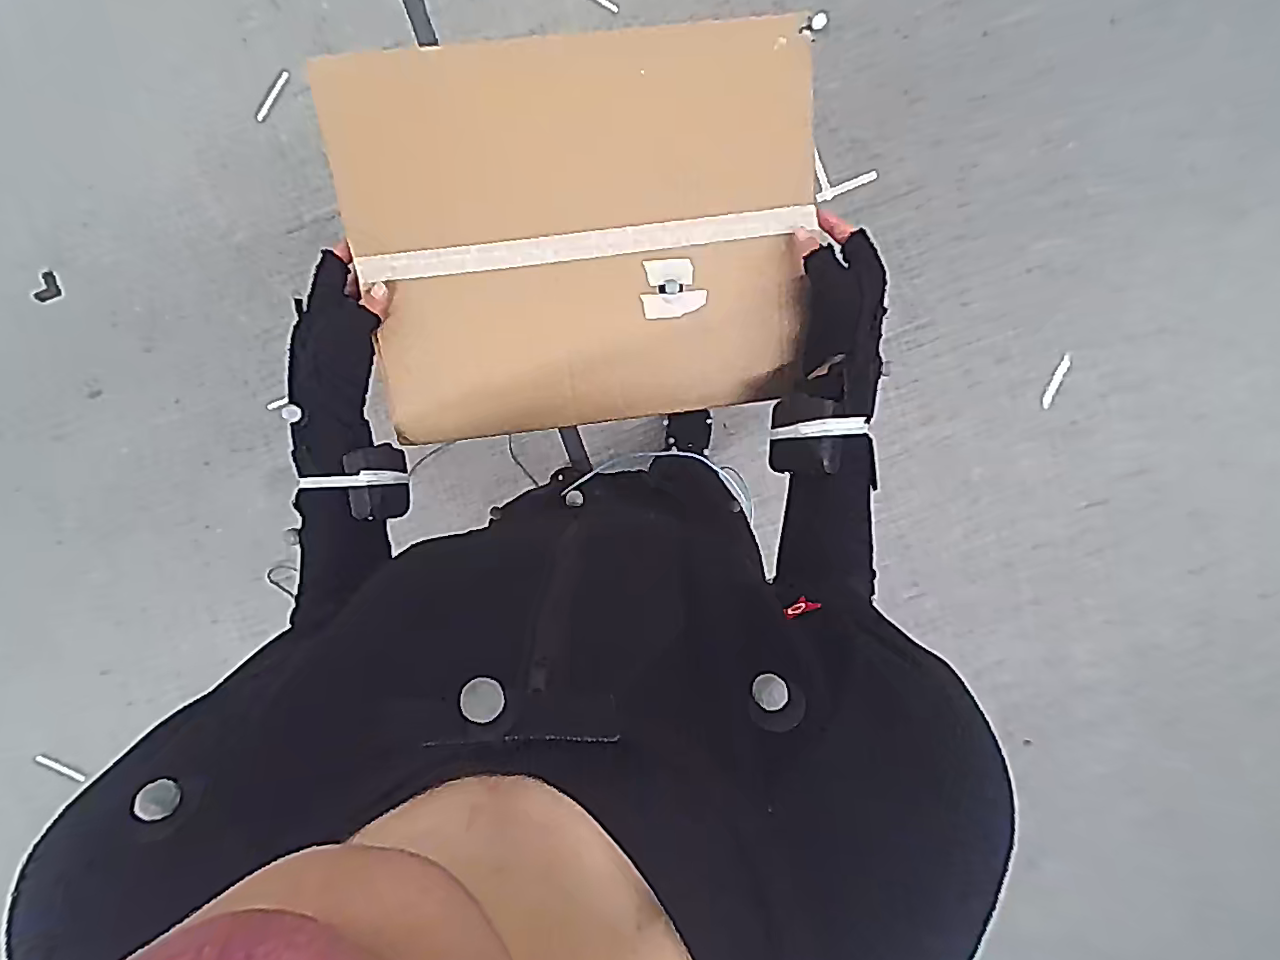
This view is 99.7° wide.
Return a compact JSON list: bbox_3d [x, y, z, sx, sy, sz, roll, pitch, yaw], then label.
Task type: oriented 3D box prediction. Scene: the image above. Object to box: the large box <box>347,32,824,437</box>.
[{"bbox_3d":[-0.043,-0.248,0.632,0.408,0.320,0.320,-7,106,-4],"label":"large box"}]
